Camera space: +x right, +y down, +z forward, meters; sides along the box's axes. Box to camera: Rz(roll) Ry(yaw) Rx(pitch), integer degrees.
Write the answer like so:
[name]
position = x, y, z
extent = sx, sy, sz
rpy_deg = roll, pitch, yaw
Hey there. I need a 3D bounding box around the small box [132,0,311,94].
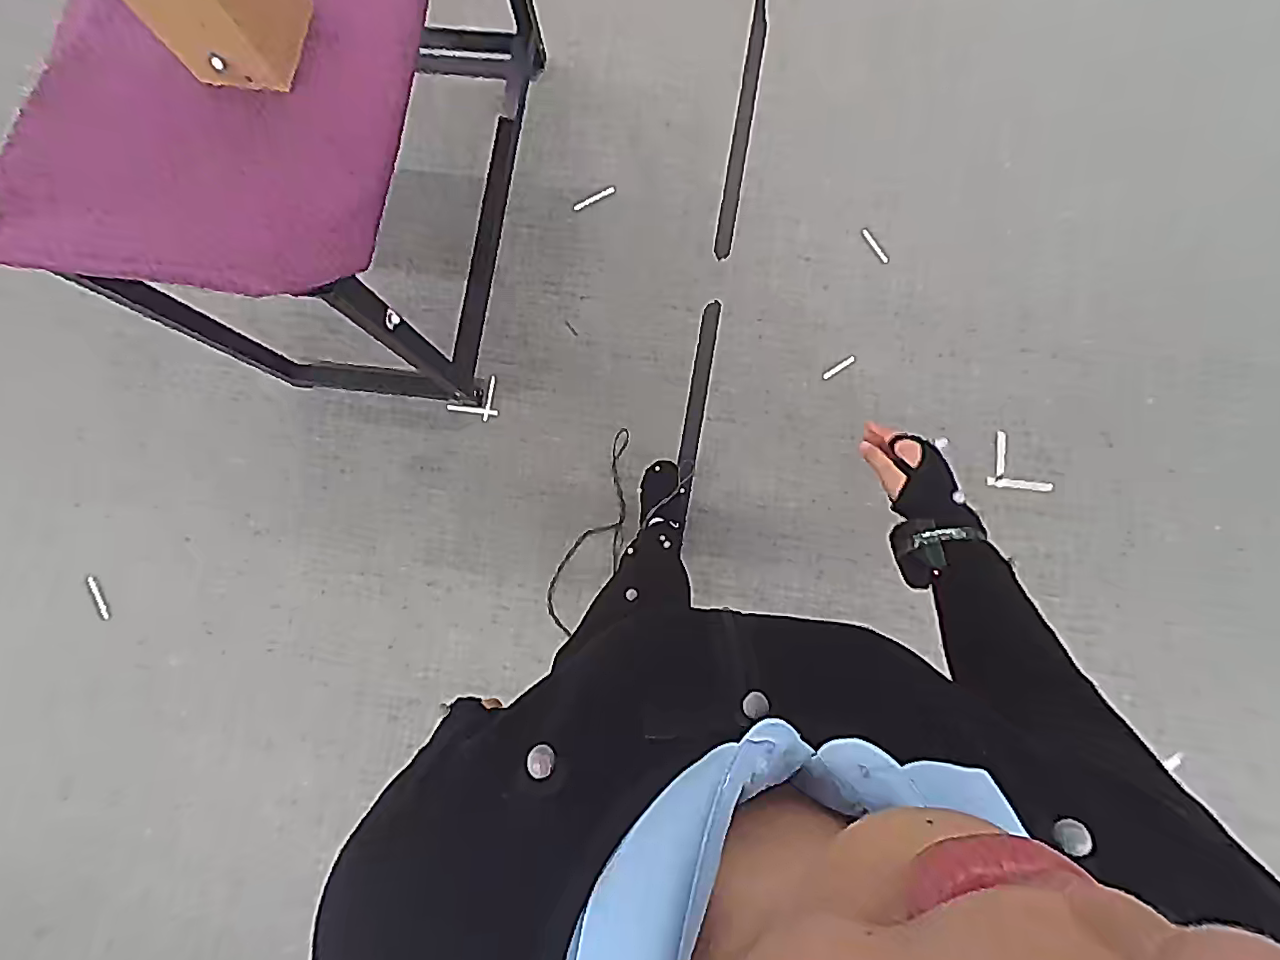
[small box]
position = -0.661, -0.765, 0.856
extent = 0.168, 0.176, 0.179
rpy_deg = 9, 82, 5
